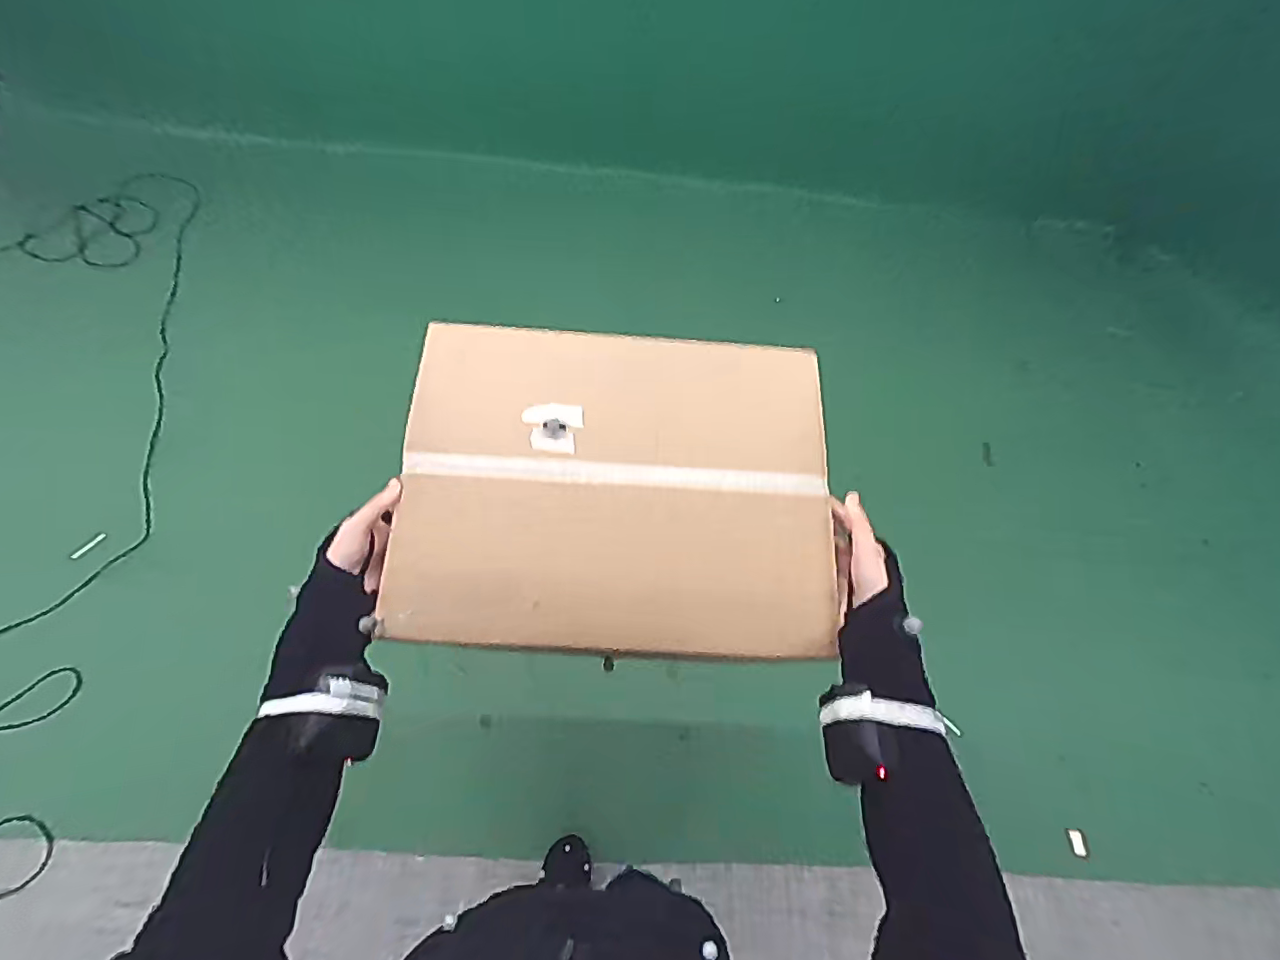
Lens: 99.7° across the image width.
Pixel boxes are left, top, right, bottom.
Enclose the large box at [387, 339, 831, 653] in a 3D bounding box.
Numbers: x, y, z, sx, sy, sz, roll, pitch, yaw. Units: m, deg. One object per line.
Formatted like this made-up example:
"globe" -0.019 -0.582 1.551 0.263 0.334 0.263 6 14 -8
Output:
"large box" -0.027 0.049 0.668 0.408 0.320 0.320 3 70 -2
